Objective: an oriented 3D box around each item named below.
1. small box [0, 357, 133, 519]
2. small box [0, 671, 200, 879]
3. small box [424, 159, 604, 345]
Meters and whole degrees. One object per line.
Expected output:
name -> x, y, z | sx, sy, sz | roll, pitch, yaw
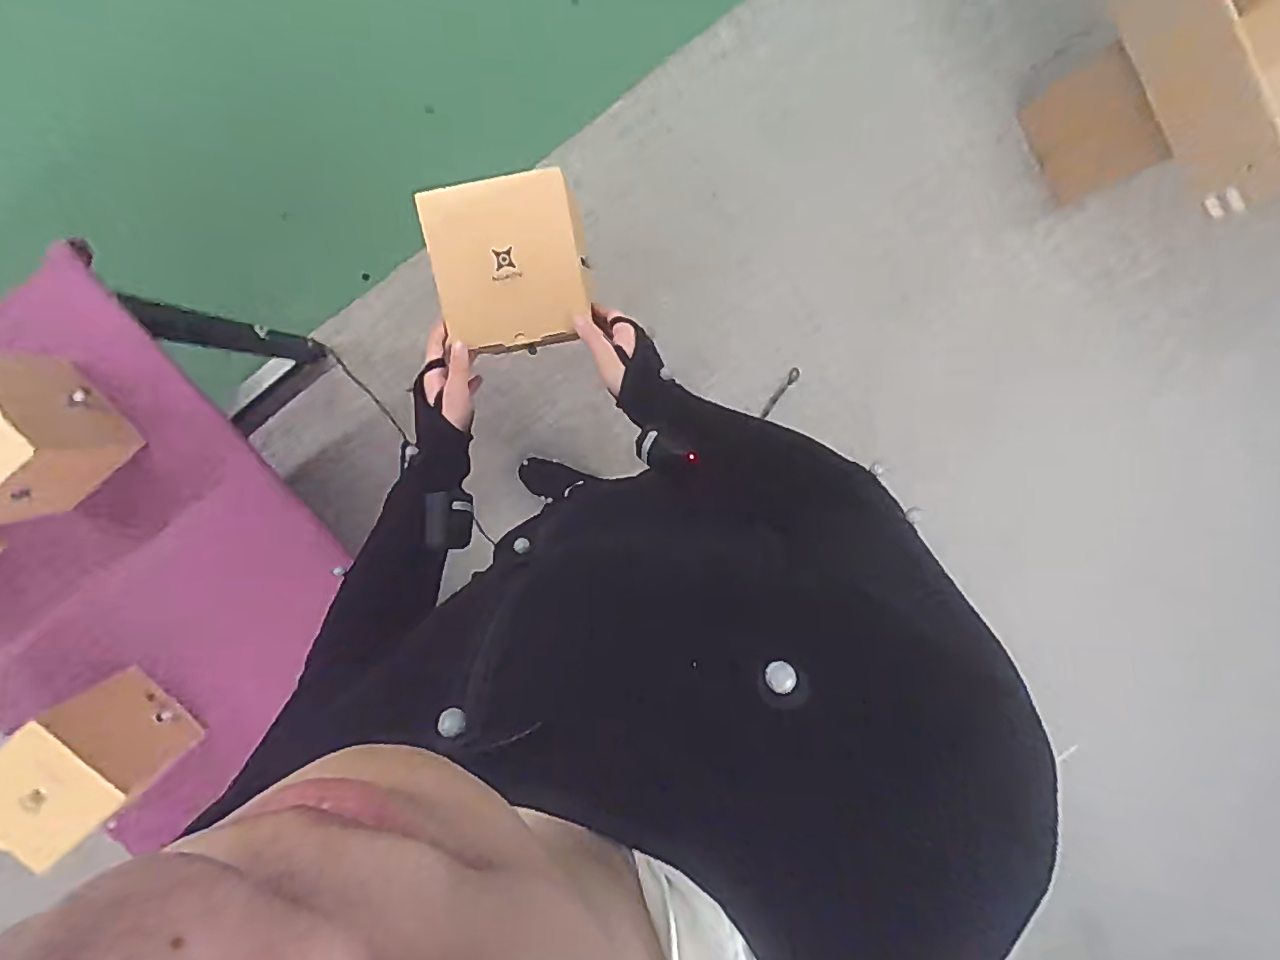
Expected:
small box -> -0.885, -0.054, 0.751 | 0.179, 0.176, 0.168 | -39, 99, 3
small box -> -0.836, 0.432, 0.817 | 0.179, 0.176, 0.168 | -41, 98, 1
small box -> -0.141, -0.267, 0.672 | 0.168, 0.176, 0.179 | -9, 105, 2
